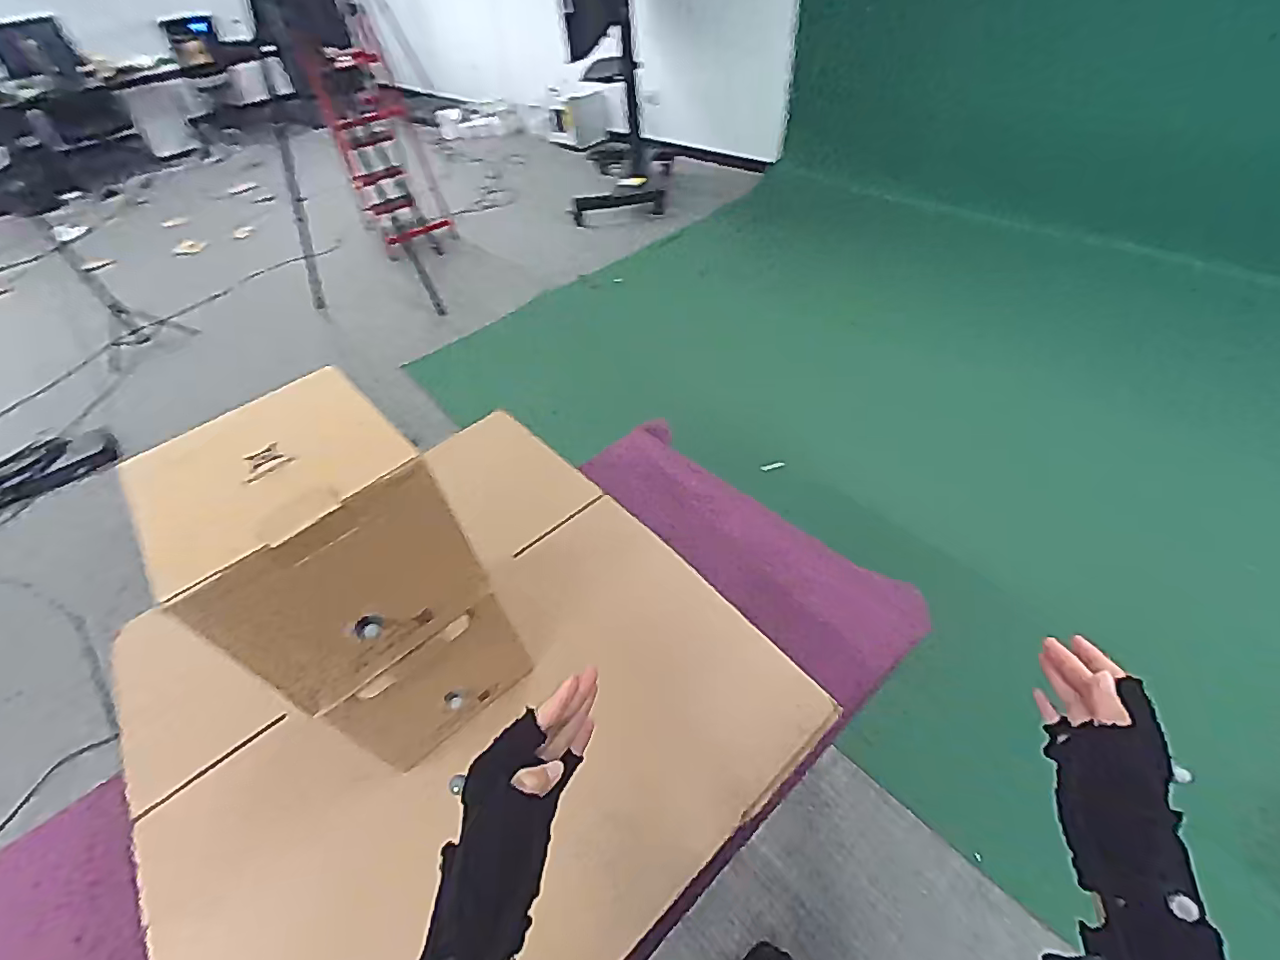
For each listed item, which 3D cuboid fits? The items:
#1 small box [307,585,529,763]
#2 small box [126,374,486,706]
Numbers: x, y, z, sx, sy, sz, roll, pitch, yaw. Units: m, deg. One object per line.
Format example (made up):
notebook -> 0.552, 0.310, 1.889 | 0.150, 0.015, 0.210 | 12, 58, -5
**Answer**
small box -> -0.244, 0.155, 0.567 | 0.168, 0.176, 0.179 | -36, 52, -22
small box -> -0.258, 0.047, 0.445 | 0.168, 0.176, 0.179 | -37, 53, -24
